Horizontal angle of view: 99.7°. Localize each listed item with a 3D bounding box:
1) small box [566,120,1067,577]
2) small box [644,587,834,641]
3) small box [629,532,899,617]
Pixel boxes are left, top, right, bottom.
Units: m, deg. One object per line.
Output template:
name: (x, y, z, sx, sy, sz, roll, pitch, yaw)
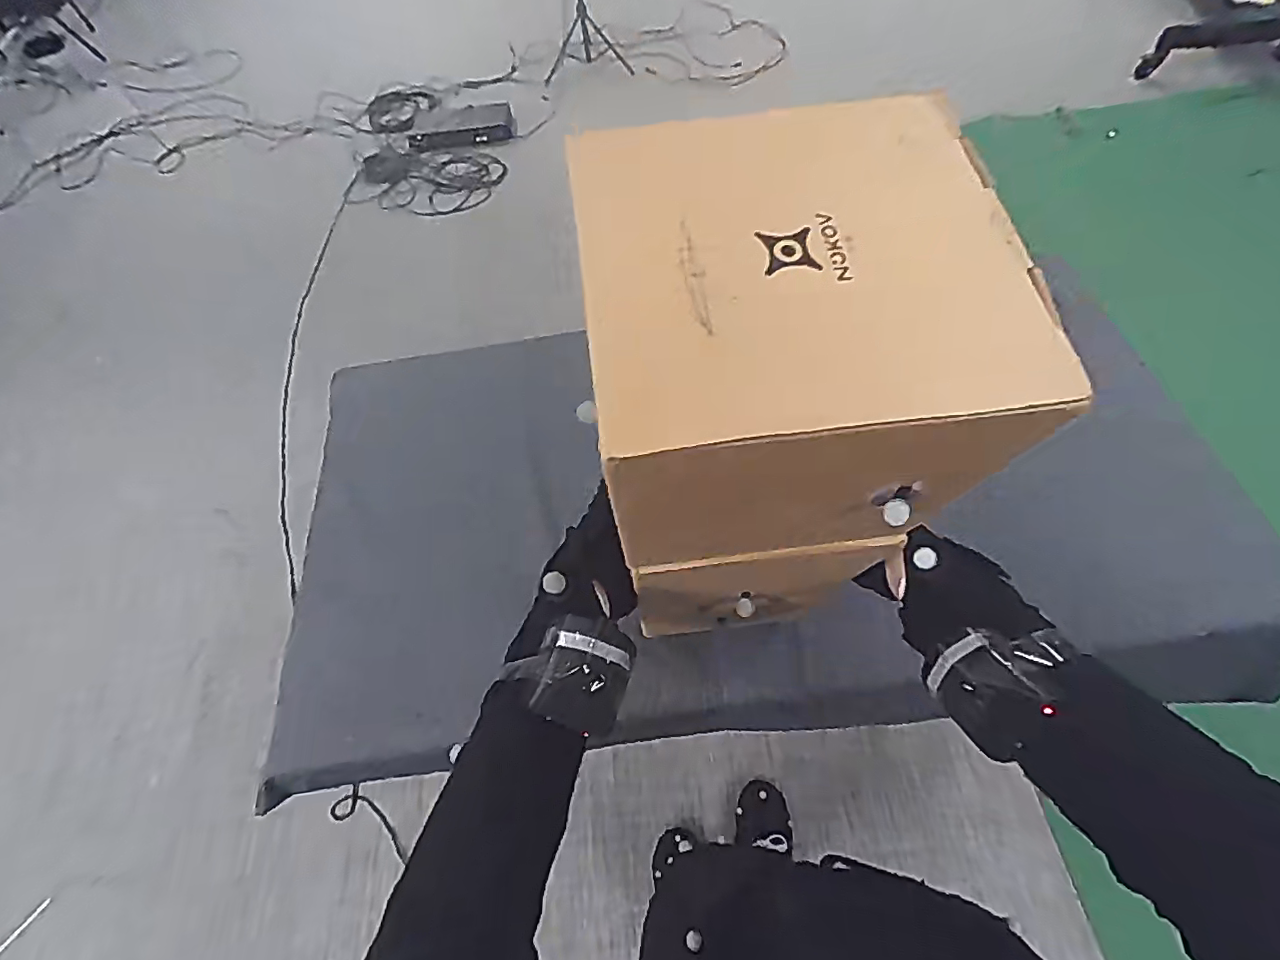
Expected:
small box: (0.064, -0.052, 0.298, 0.179, 0.176, 0.168, -8, 67, 0)
small box: (0.083, 0.076, 0.597, 0.179, 0.176, 0.168, -9, 68, -2)
small box: (0.074, 0.011, 0.446, 0.179, 0.176, 0.168, -6, 66, -1)
